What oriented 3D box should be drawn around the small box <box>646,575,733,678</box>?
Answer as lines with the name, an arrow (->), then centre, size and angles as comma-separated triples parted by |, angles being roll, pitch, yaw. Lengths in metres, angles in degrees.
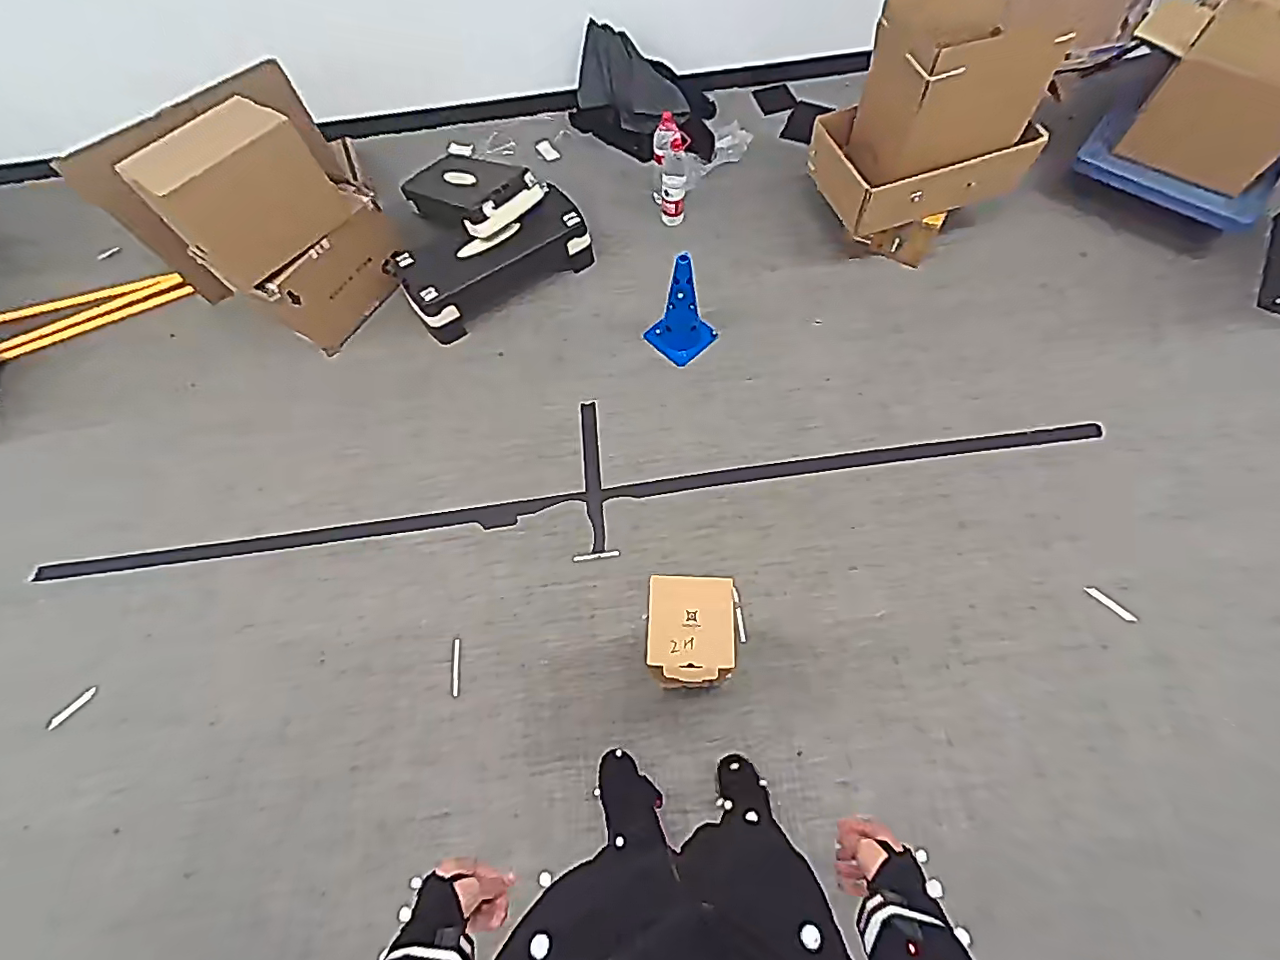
small box -> 0.099, 0.305, 1.114 | 0.168, 0.176, 0.179 | 2, 66, 3

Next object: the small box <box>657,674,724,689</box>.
small box -> 0.127, 0.451, 1.410 | 0.168, 0.176, 0.179 | -3, 66, 2
